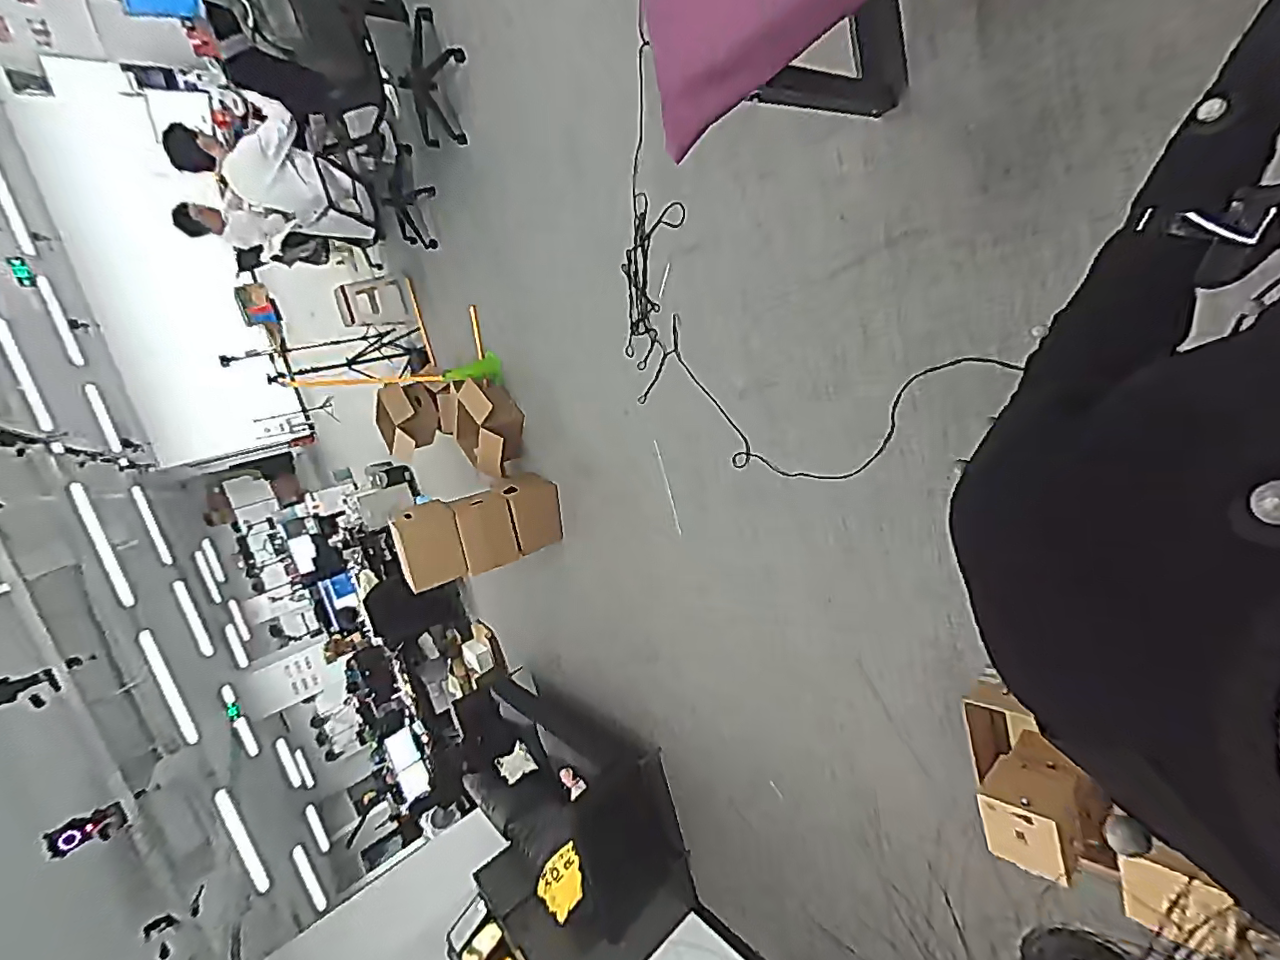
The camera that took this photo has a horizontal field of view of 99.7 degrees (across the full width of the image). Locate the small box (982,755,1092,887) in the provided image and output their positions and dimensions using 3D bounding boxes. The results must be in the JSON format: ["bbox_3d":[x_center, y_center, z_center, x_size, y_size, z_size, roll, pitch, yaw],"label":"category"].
[{"bbox_3d":[0.974,0.822,1.323,0.168,0.176,0.179,-6,103,54],"label":"small box"}]

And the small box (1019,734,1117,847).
[{"bbox_3d":[1.109,0.797,1.412,0.179,0.176,0.168,-11,97,56],"label":"small box"}]

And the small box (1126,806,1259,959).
[{"bbox_3d":[1.130,0.818,1.107,0.168,0.176,0.179,-2,105,55],"label":"small box"}]
